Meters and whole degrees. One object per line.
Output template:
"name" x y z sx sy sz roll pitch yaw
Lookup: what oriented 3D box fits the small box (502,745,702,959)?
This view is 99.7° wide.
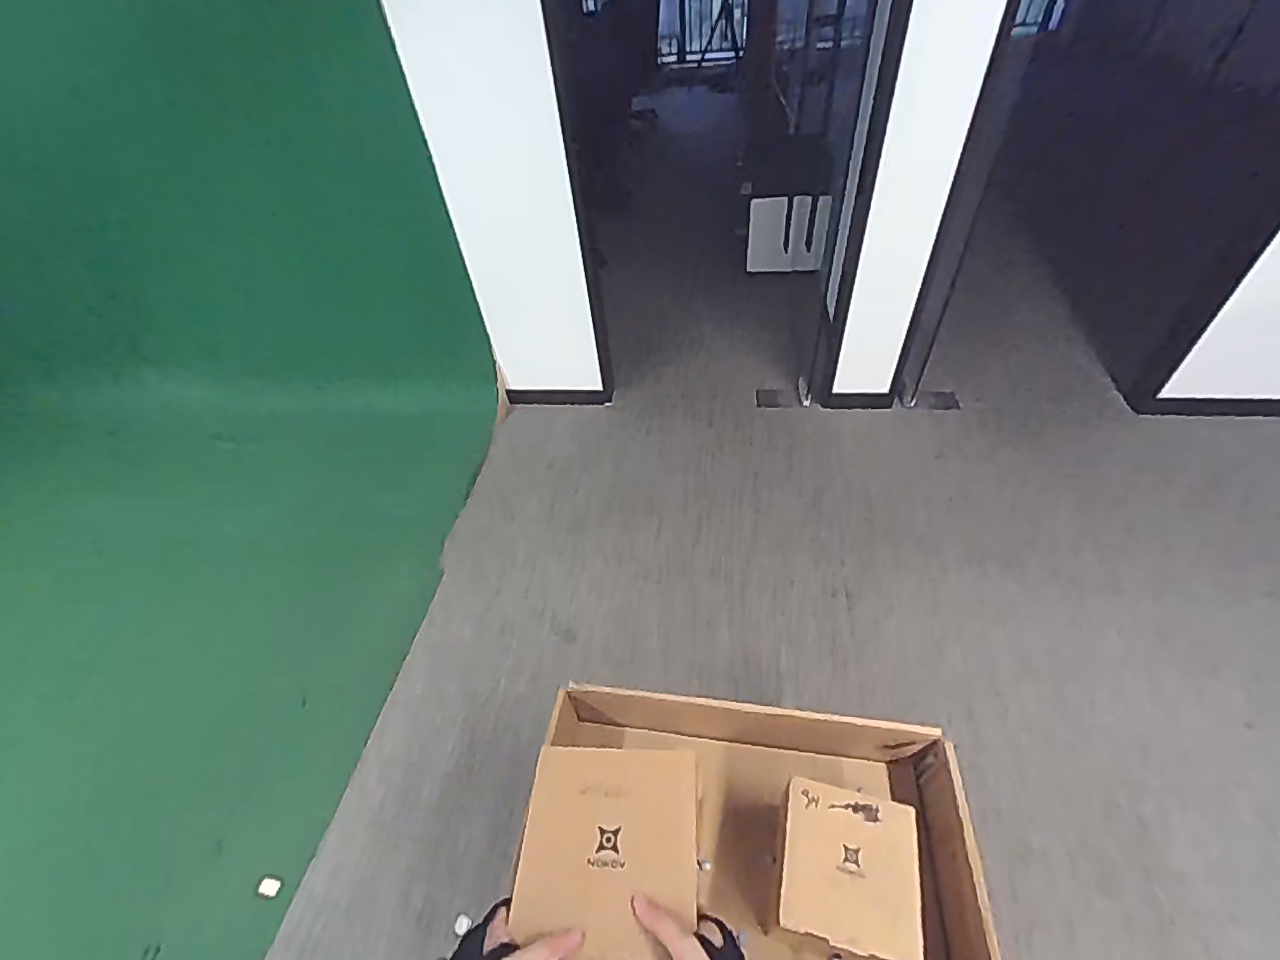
"small box" -0.022 0.398 0.557 0.168 0.176 0.179 -1 43 7
